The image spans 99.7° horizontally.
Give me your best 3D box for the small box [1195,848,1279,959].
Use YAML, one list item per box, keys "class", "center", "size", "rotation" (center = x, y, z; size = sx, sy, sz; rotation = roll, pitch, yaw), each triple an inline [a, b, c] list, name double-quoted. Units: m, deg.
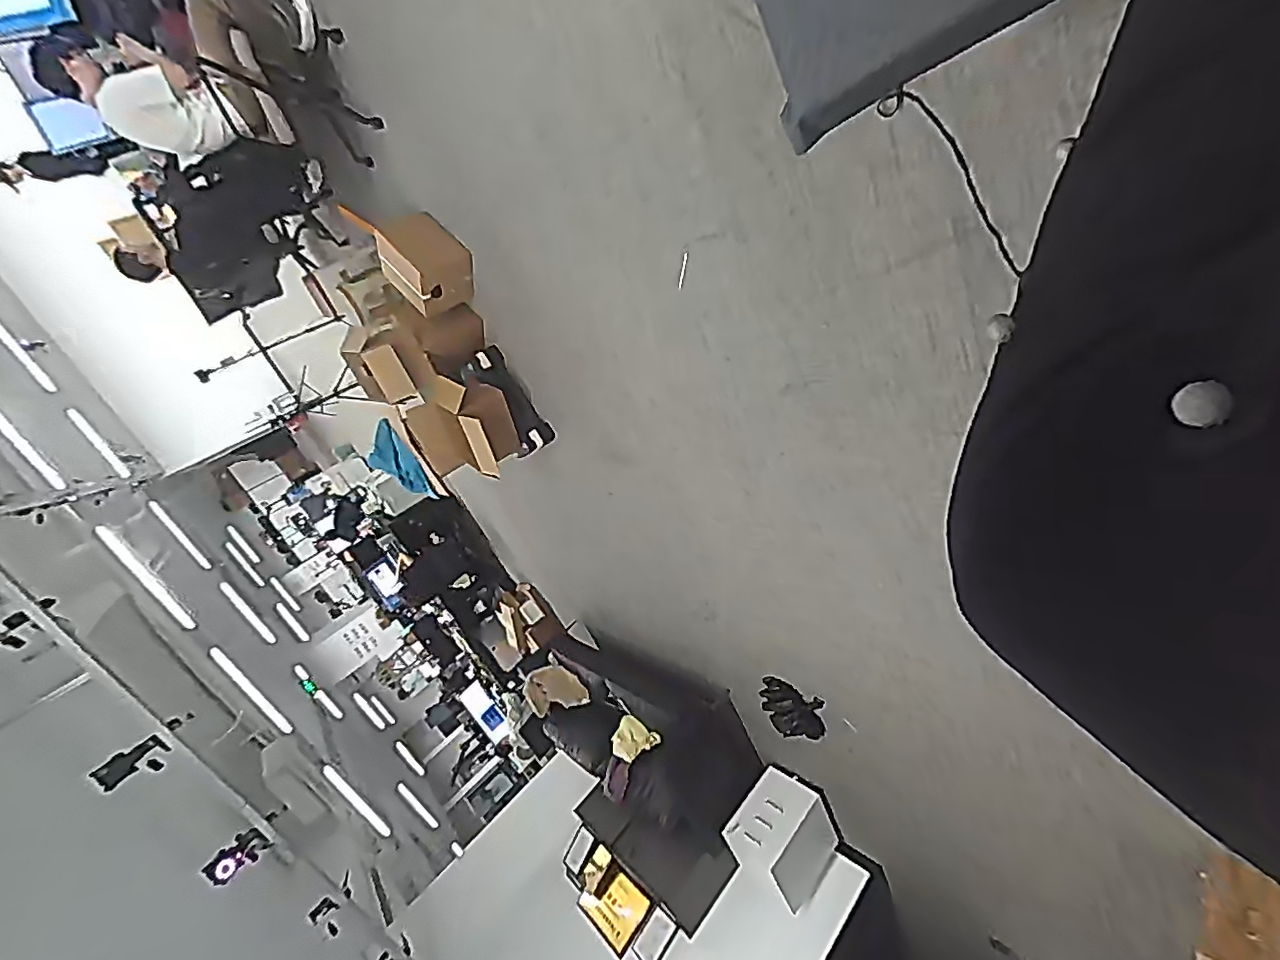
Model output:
- class: "small box"
  center: [1.818, 1.272, 1.635]
  size: [0.179, 0.176, 0.168]
  rotation: [7, 128, 53]
